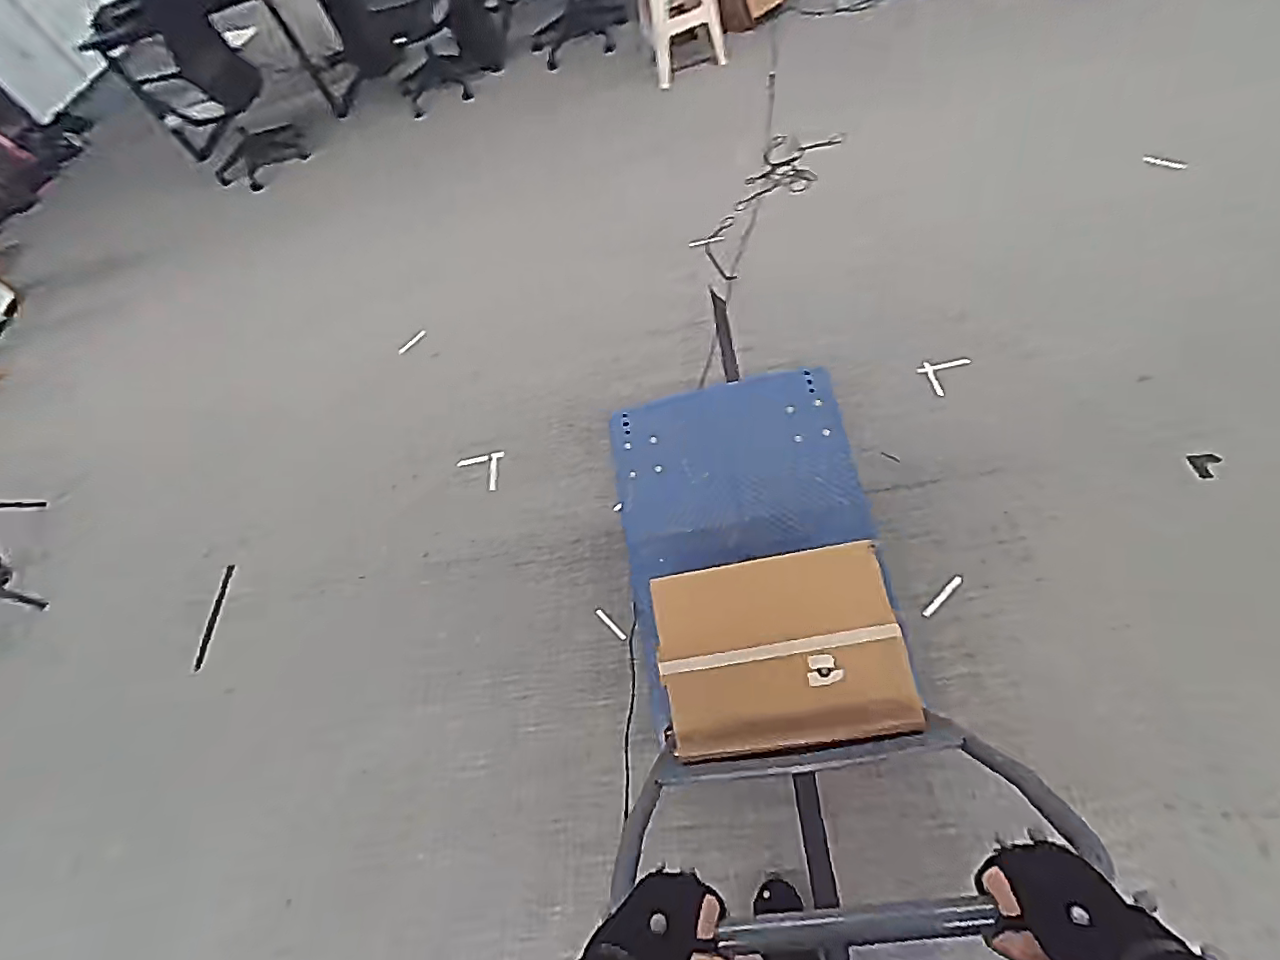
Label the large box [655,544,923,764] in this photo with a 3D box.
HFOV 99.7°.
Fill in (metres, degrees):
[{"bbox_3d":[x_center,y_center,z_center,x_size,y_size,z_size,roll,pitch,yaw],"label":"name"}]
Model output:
[{"bbox_3d":[0.269,0.342,1.086,0.408,0.320,0.320,-12,73,7],"label":"large box"}]
